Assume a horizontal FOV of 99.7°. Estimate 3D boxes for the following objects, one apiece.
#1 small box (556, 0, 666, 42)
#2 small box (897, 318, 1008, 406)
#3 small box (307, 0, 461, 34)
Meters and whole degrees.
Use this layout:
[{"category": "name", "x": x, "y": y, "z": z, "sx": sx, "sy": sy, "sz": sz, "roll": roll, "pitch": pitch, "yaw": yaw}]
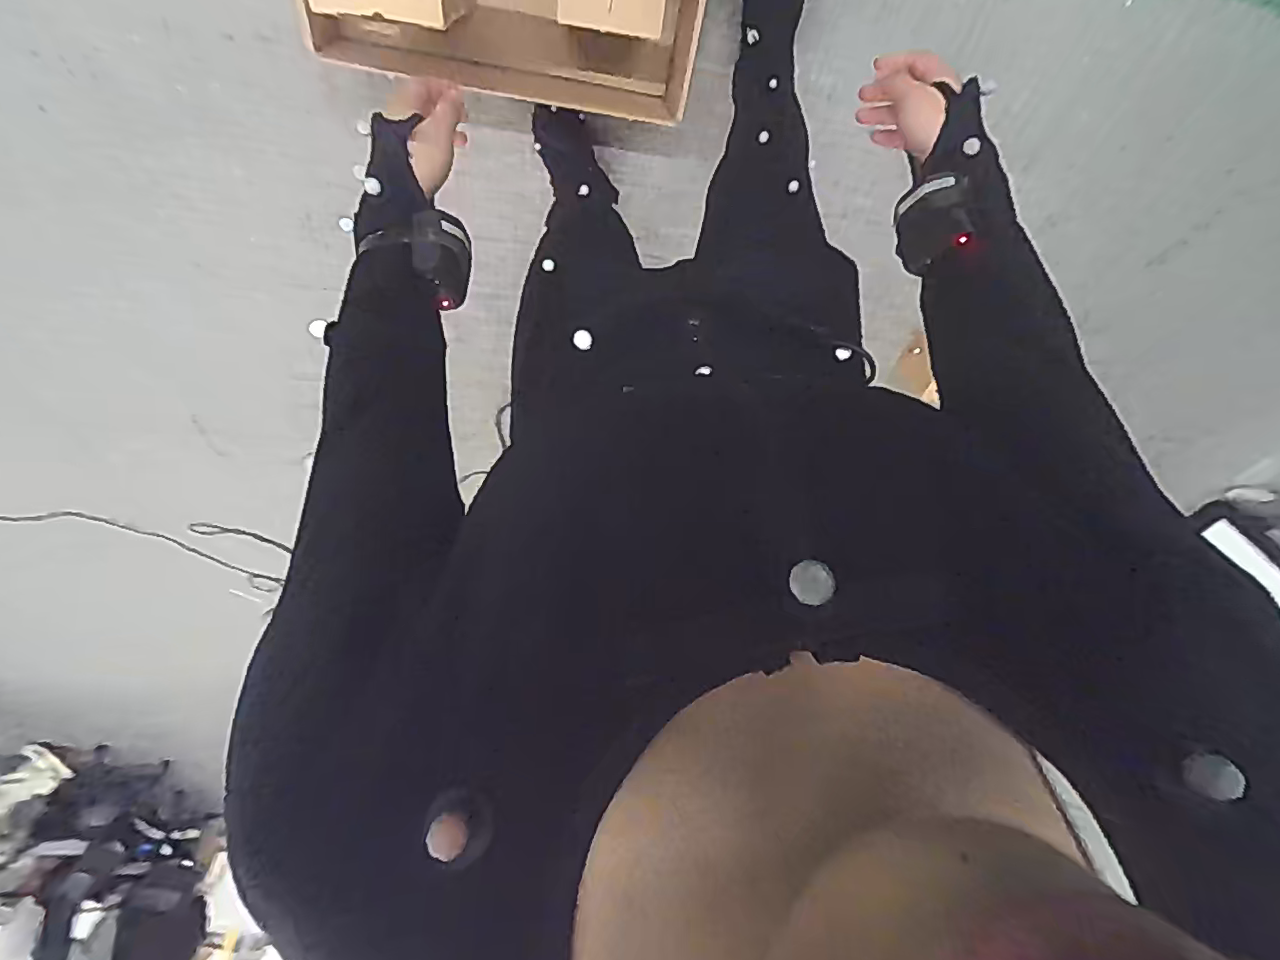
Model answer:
[{"category": "small box", "x": -0.042, "y": -0.814, "z": 0.833, "sx": 0.168, "sy": 0.176, "sz": 0.179, "roll": 3, "pitch": 138, "yaw": -9}, {"category": "small box", "x": 0.869, "y": -0.334, "z": 1.521, "sx": 0.179, "sy": 0.176, "sz": 0.168, "roll": 7, "pitch": 134, "yaw": -14}, {"category": "small box", "x": -0.329, "y": -0.700, "z": 0.682, "sx": 0.168, "sy": 0.176, "sz": 0.179, "roll": 2, "pitch": 137, "yaw": -8}]
